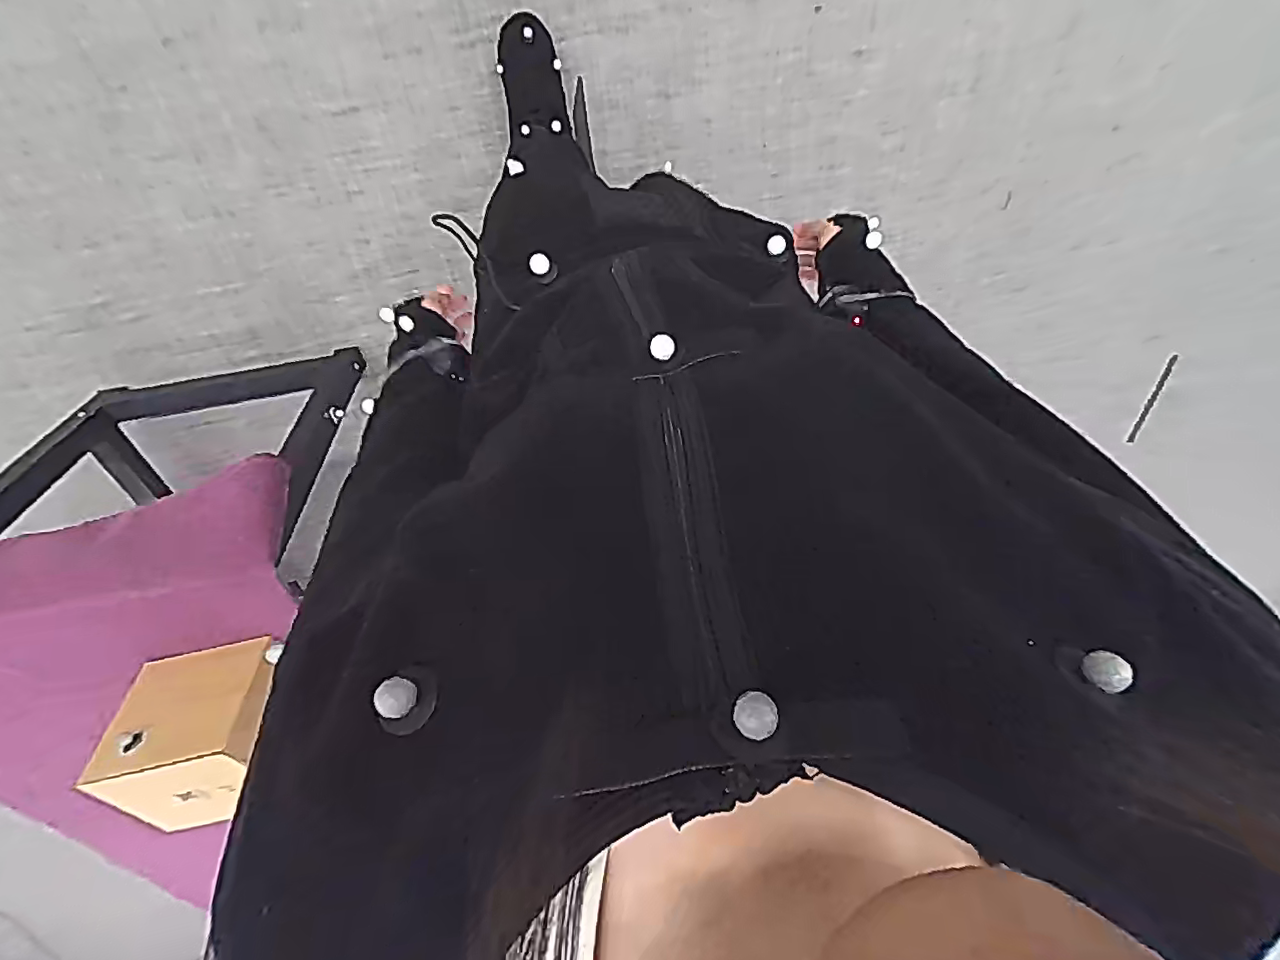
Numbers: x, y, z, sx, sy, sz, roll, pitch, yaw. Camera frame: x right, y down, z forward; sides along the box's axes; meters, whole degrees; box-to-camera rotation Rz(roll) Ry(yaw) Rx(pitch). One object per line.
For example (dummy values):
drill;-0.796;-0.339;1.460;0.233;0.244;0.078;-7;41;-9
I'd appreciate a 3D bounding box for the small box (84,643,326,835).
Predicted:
small box;-0.578;0.356;0.753;0.179;0.176;0.168;-12;131;-4
